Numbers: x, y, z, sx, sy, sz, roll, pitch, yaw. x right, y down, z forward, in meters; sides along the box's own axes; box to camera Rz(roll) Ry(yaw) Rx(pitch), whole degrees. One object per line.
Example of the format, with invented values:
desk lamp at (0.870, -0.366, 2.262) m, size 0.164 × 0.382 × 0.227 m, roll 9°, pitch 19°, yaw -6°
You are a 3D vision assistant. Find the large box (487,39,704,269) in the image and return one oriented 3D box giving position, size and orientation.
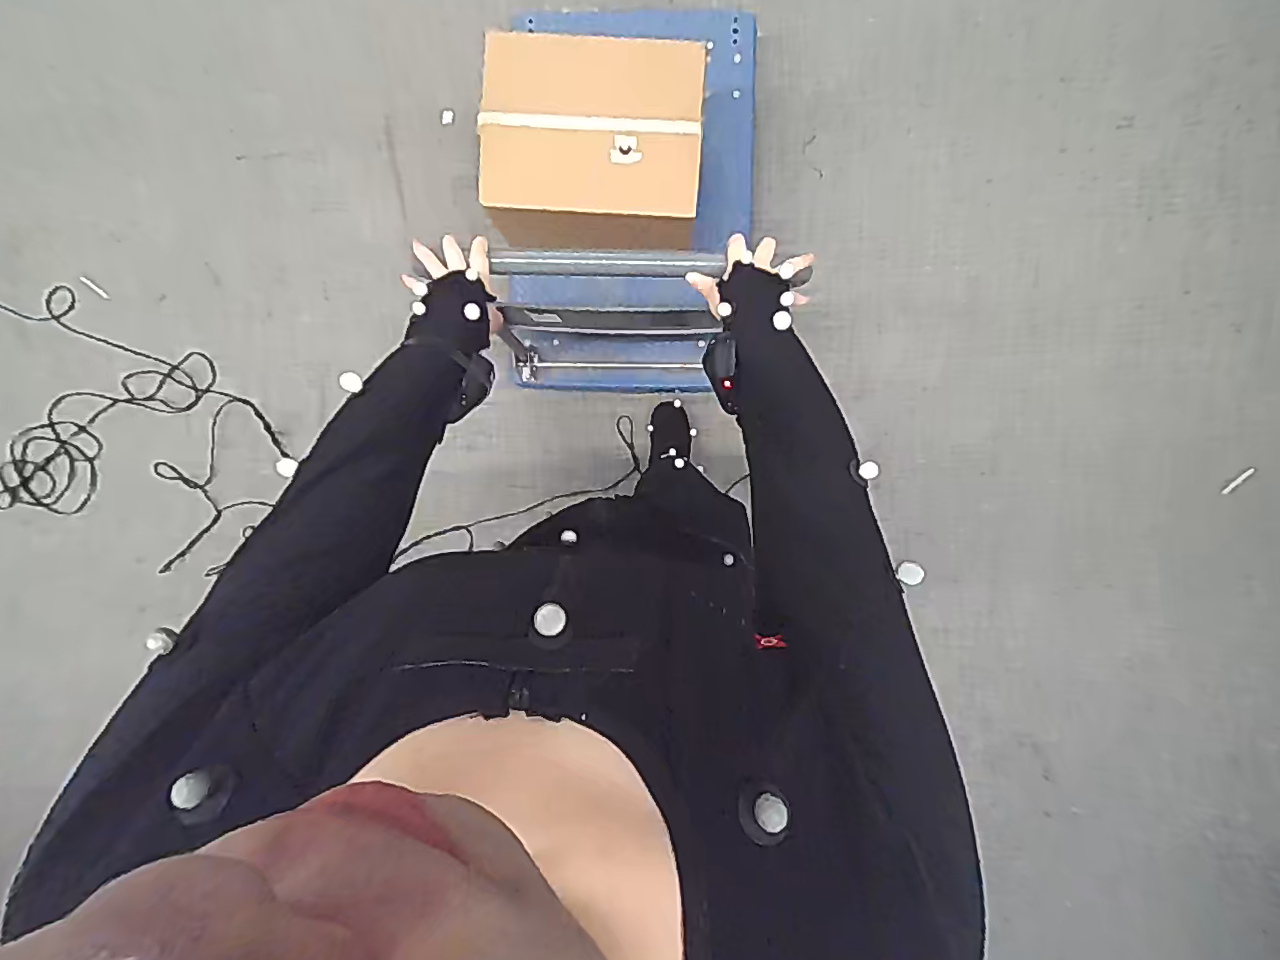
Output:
large box at (-0.087, -0.663, 1.156) m, size 0.408 × 0.320 × 0.320 m, roll 3°, pitch 93°, yaw 0°
